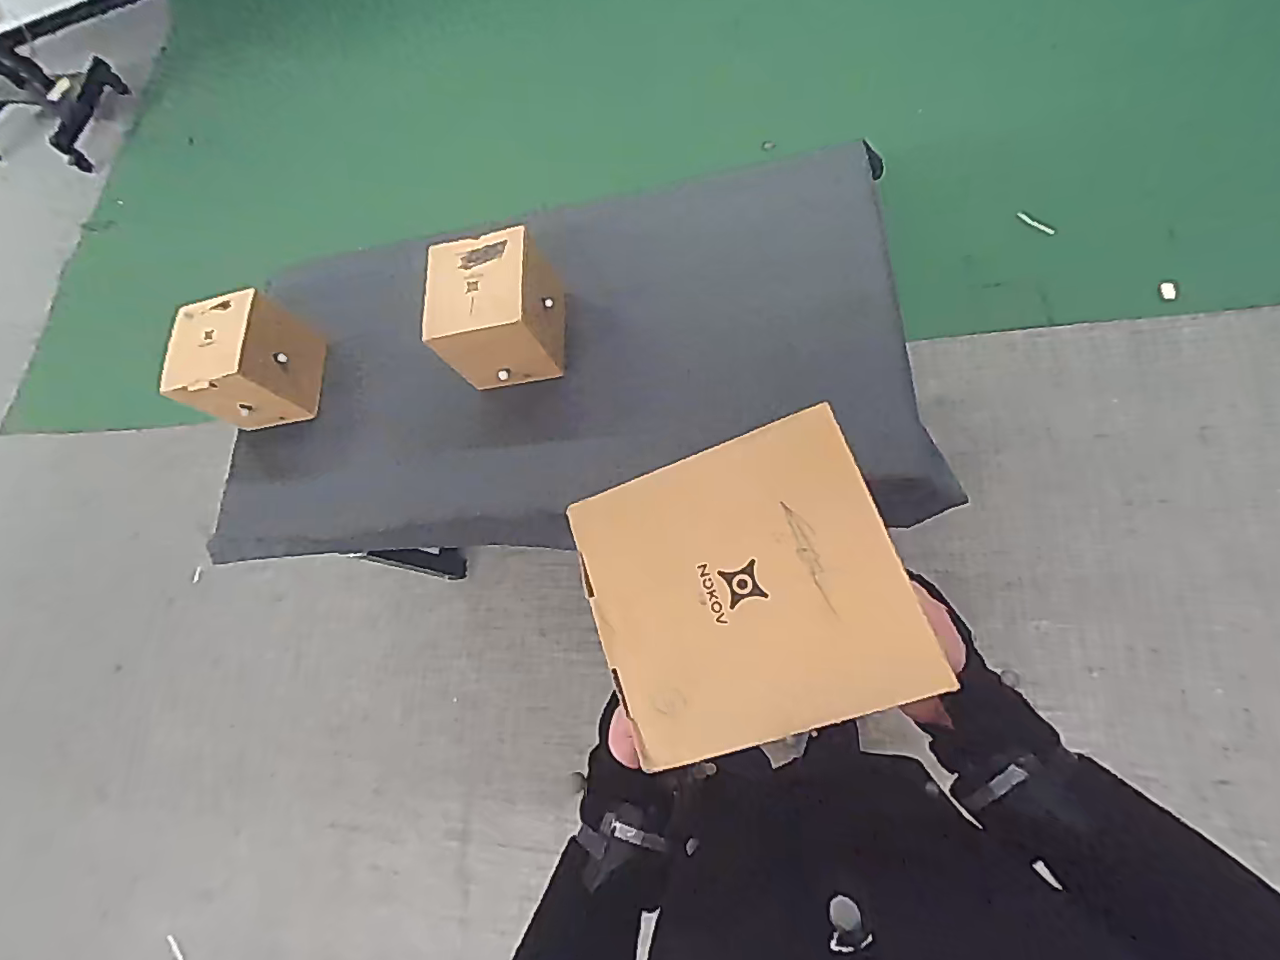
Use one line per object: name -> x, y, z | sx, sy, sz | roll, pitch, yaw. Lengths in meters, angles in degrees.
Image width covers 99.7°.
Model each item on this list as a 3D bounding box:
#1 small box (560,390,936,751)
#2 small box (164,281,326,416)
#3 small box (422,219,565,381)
small box -> 0.072, 0.065, 0.385 | 0.179, 0.176, 0.168 | -22, 75, 12
small box -> -0.714, -0.229, 0.996 | 0.168, 0.176, 0.179 | -8, 71, 12
small box -> -0.229, -0.285, 0.886 | 0.168, 0.176, 0.179 | -7, 72, 13
